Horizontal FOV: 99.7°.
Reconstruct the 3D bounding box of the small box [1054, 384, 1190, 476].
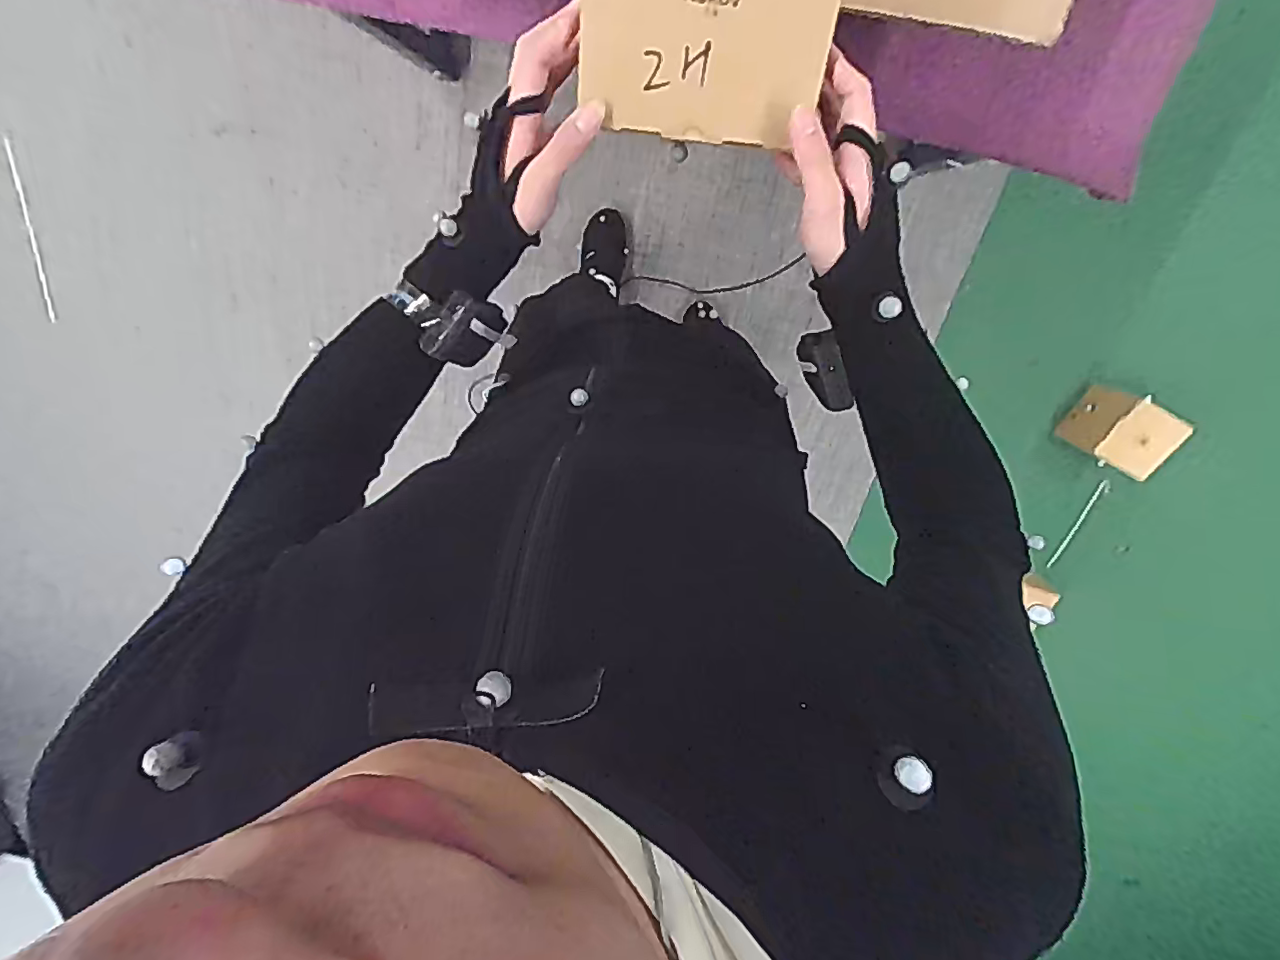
[{"bbox_3d":[1.295,-0.142,1.466,0.179,0.176,0.168,26,113,-7],"label":"small box"}]
